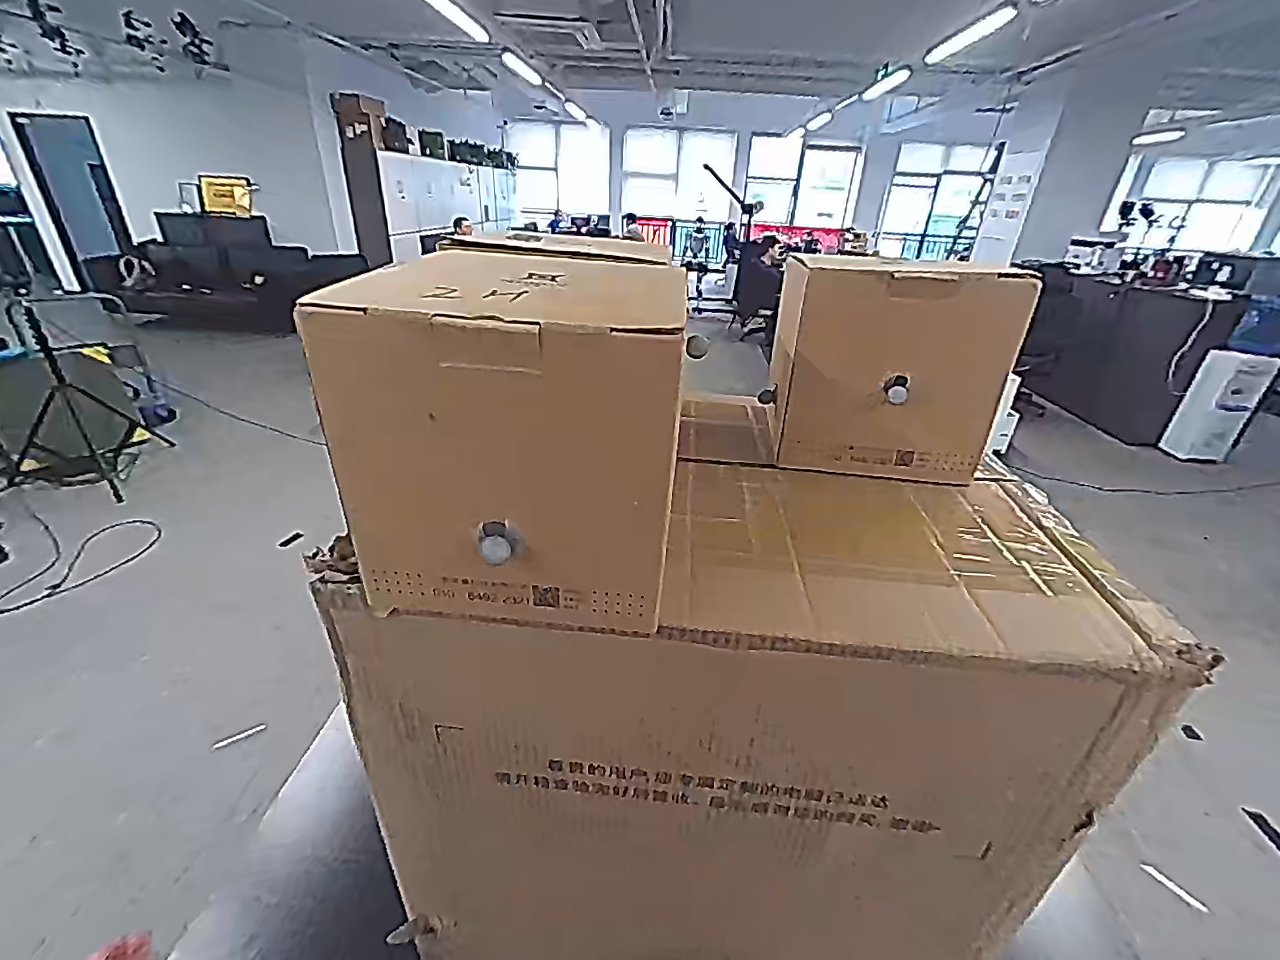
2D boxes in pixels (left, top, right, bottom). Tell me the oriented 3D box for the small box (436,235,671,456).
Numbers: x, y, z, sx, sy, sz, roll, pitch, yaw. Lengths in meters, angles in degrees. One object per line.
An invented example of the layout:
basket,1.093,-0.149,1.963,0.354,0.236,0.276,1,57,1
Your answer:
small box,-0.067,-0.132,0.509,0.179,0.176,0.168,6,27,2
